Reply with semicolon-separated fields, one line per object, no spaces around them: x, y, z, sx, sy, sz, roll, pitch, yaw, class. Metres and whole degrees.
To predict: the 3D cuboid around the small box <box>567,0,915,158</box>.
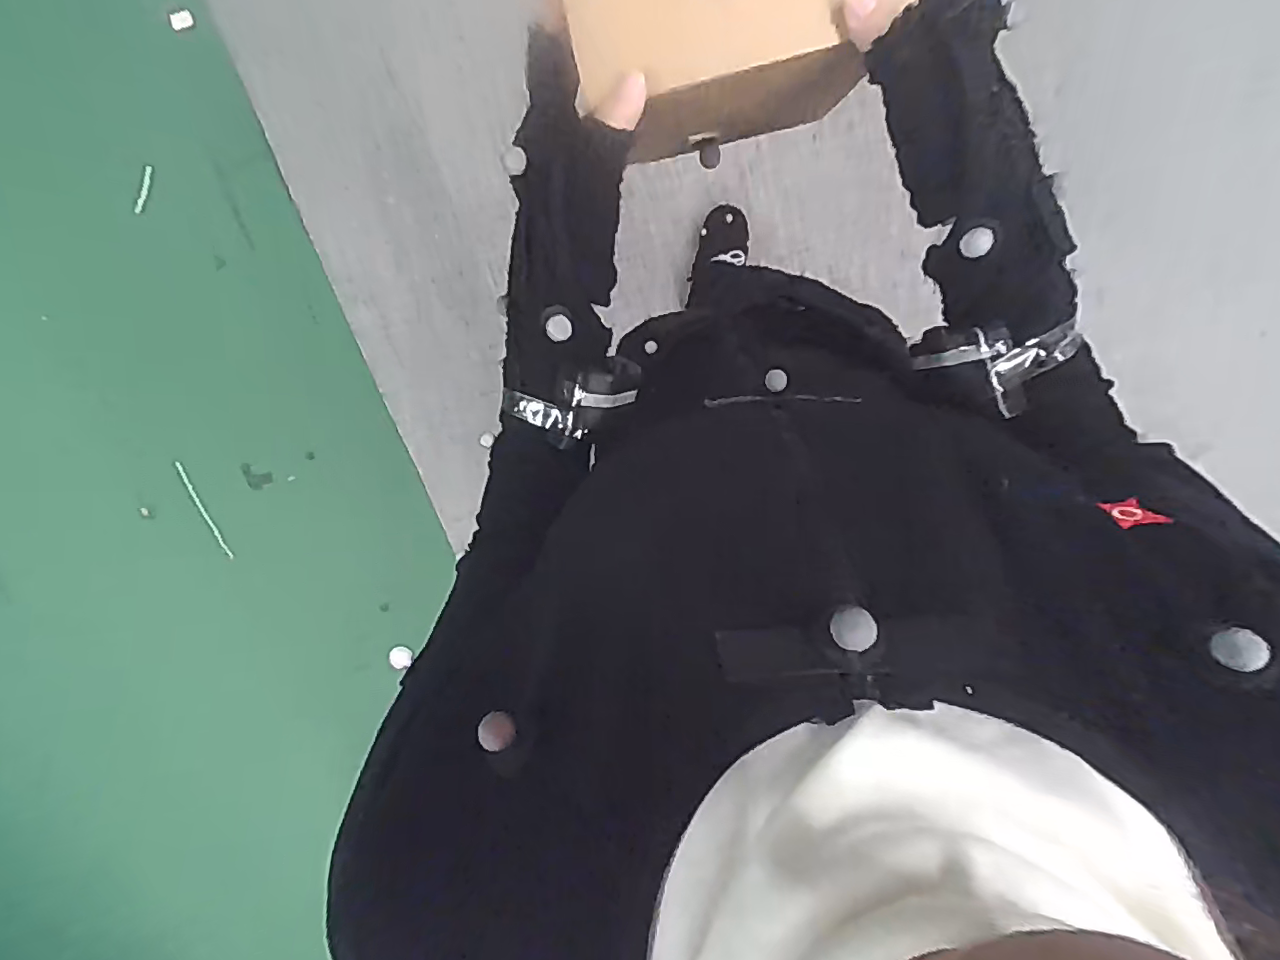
0.038;-0.316;0.312;0.168;0.176;0.179;-10;110;7;small box
